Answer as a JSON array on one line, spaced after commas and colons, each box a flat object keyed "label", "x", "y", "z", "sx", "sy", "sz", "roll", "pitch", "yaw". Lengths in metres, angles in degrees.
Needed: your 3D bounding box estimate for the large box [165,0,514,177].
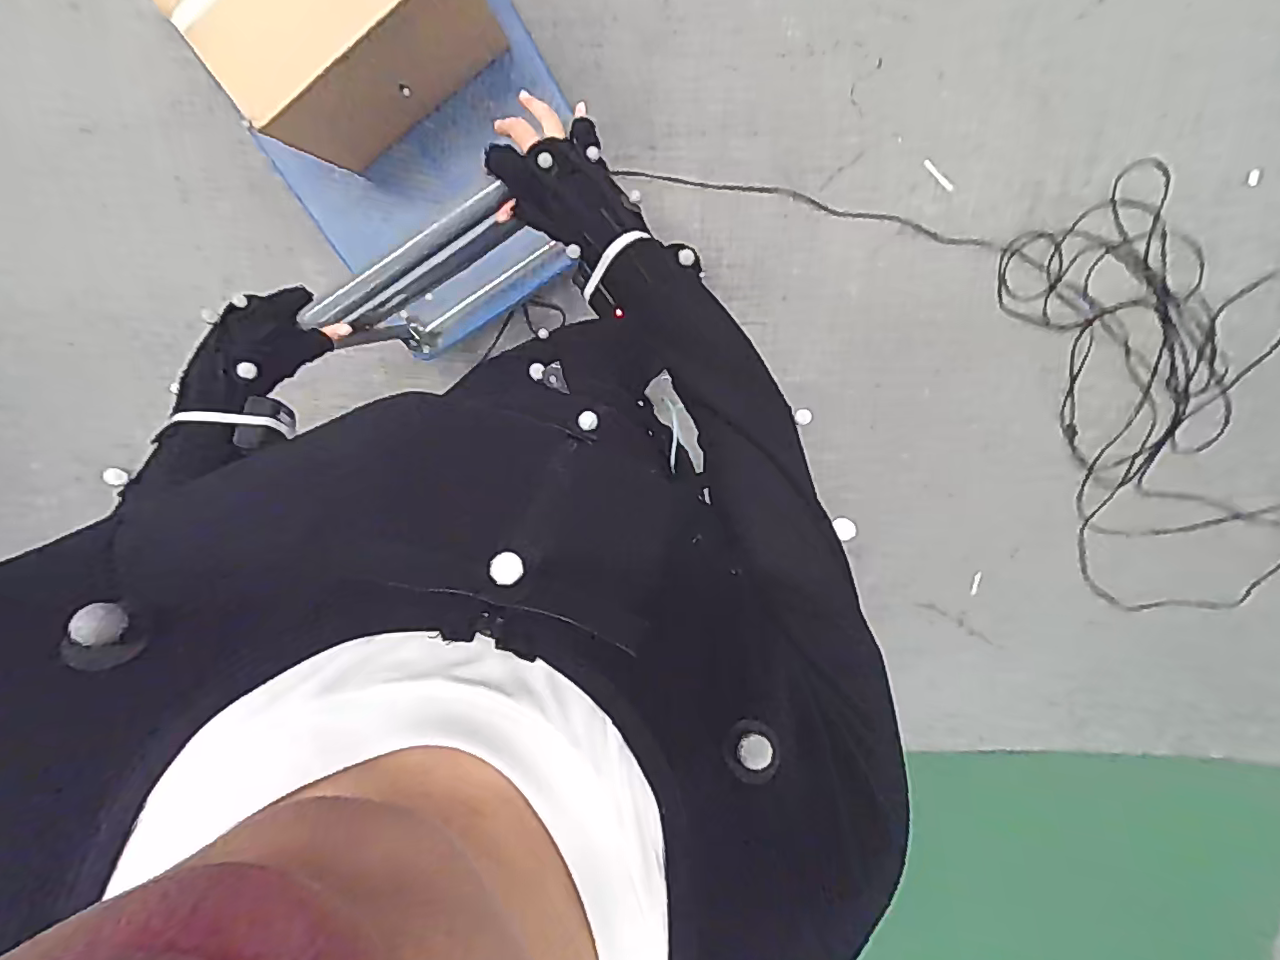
[{"label": "large box", "x": -0.489, "y": -0.799, "z": 0.908, "sx": 0.408, "sy": 0.320, "sz": 0.320, "roll": -31, "pitch": 104, "yaw": 11}]
